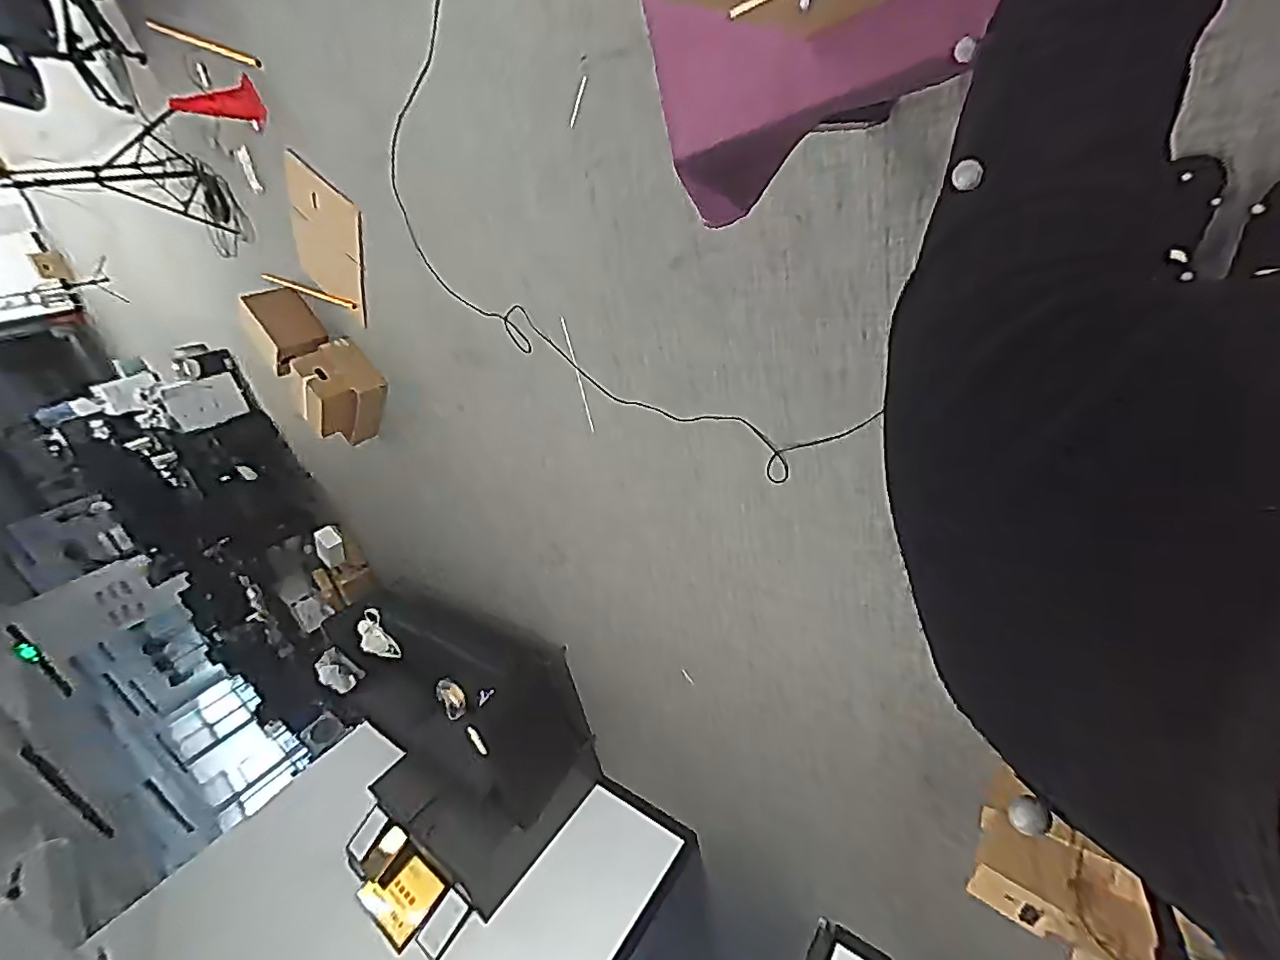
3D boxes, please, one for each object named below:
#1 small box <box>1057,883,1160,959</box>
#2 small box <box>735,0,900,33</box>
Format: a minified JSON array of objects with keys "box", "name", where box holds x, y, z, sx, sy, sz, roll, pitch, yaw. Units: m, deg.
[{"box":[1.175,1.165,1.359,0.179,0.176,0.168,8,124,39],"name":"small box"},{"box":[0.185,-0.536,0.475,0.168,0.176,0.179,9,122,40],"name":"small box"}]
